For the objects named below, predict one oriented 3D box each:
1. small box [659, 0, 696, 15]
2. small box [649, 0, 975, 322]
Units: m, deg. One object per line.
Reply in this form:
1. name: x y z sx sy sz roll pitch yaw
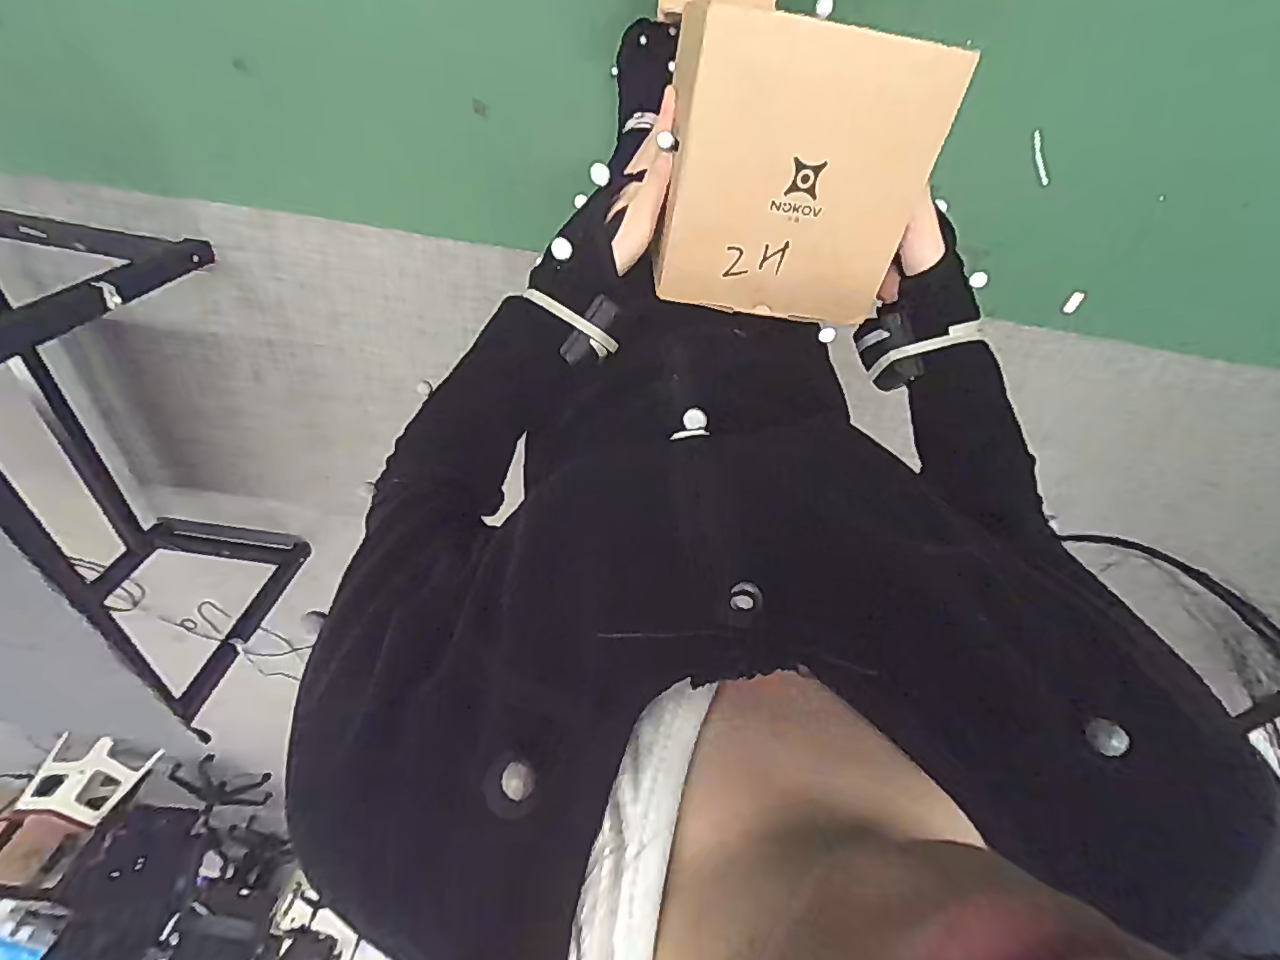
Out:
1. small box: 0.116 -0.790 0.784 0.168 0.176 0.179 4 130 0
2. small box: 0.101 -0.249 0.419 0.168 0.176 0.179 7 129 -7
